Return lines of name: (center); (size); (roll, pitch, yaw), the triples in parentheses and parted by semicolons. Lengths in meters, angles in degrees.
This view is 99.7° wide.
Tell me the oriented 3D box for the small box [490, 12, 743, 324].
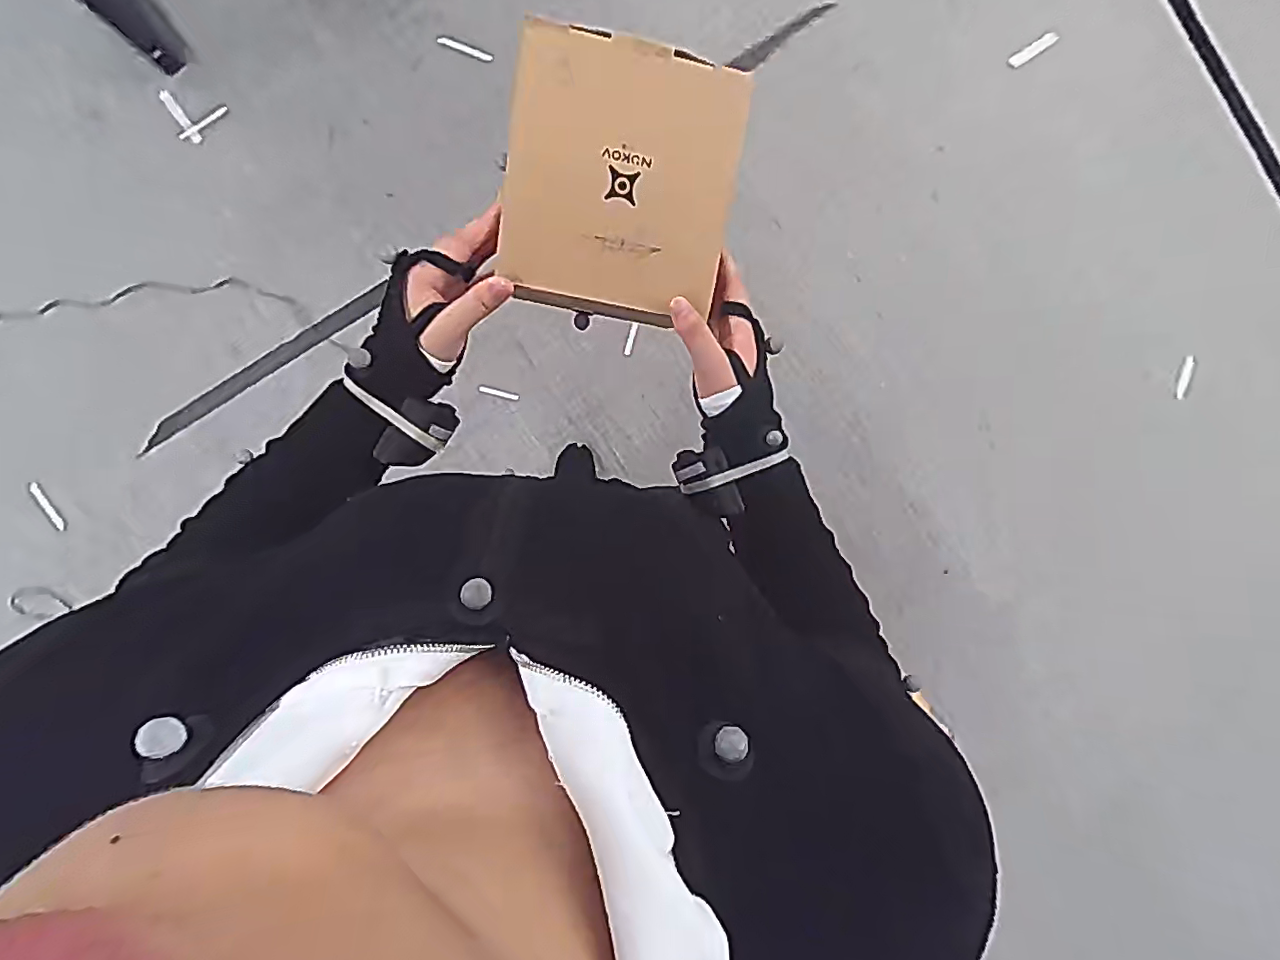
small box: (-0.028, -0.240, 0.469); (0.168, 0.176, 0.179); (7, 103, -9)
